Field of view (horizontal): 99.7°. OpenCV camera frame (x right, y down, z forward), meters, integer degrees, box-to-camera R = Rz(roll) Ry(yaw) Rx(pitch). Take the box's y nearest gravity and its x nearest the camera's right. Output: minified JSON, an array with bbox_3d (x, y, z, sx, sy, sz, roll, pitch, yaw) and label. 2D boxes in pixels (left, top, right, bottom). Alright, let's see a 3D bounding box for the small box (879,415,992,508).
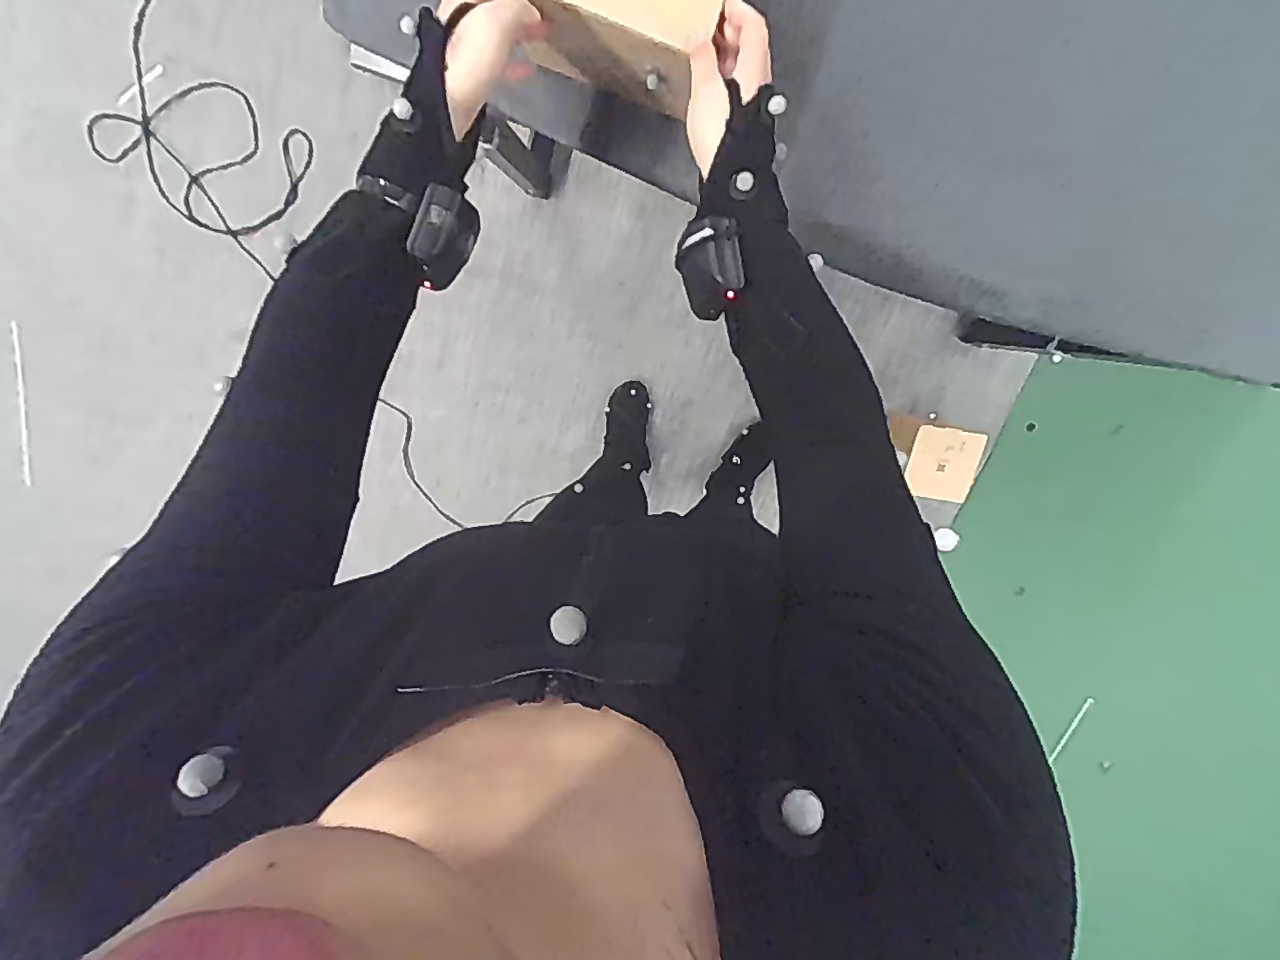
[{"bbox_3d":[0.720,-0.052,1.342,0.168,0.176,0.179,9,107,-1],"label":"small box"}]
